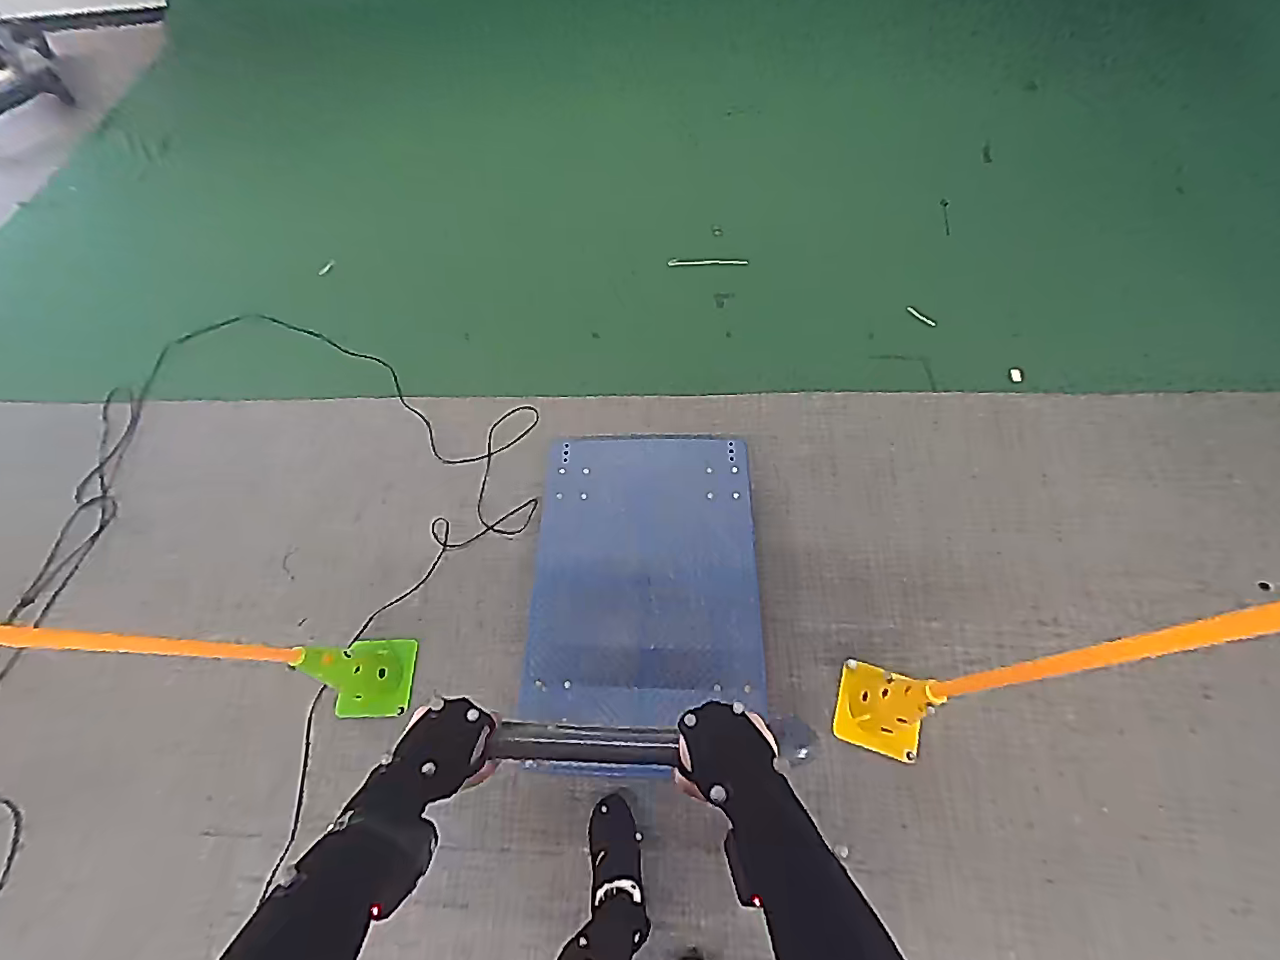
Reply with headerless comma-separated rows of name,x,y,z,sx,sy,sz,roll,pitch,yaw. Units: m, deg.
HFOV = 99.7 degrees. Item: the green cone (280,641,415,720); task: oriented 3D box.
green cone,-0.743,0.466,1.333,0.202,0.368,0.200,-4,62,5
